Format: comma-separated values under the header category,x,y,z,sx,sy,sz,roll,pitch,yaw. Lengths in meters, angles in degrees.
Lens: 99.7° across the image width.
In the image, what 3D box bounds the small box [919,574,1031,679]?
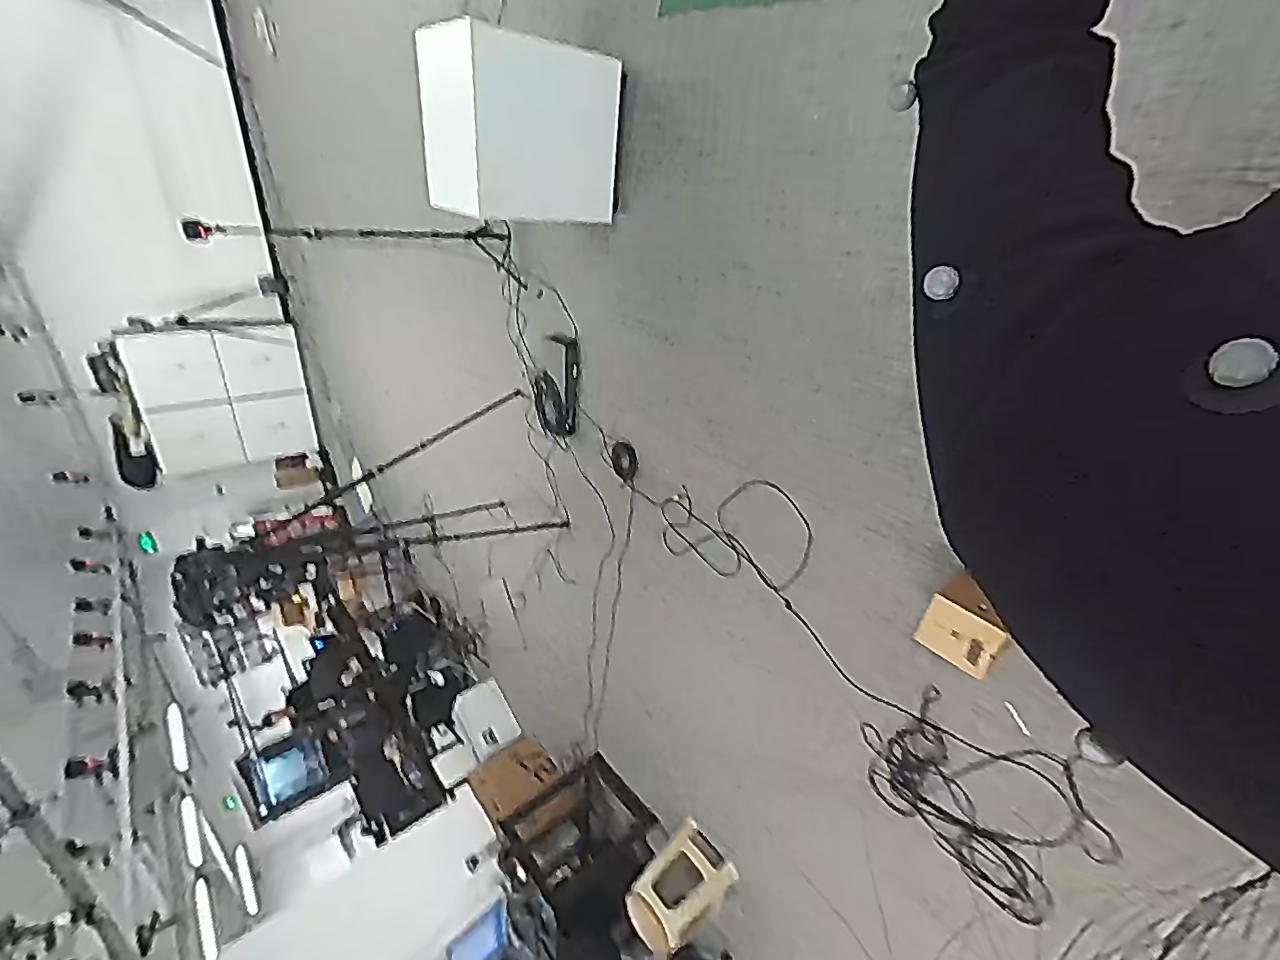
category,x,y,z,sx,sy,sz,roll,pitch,yaw
small box,0.877,0.373,1.413,0.179,0.176,0.168,33,129,39
